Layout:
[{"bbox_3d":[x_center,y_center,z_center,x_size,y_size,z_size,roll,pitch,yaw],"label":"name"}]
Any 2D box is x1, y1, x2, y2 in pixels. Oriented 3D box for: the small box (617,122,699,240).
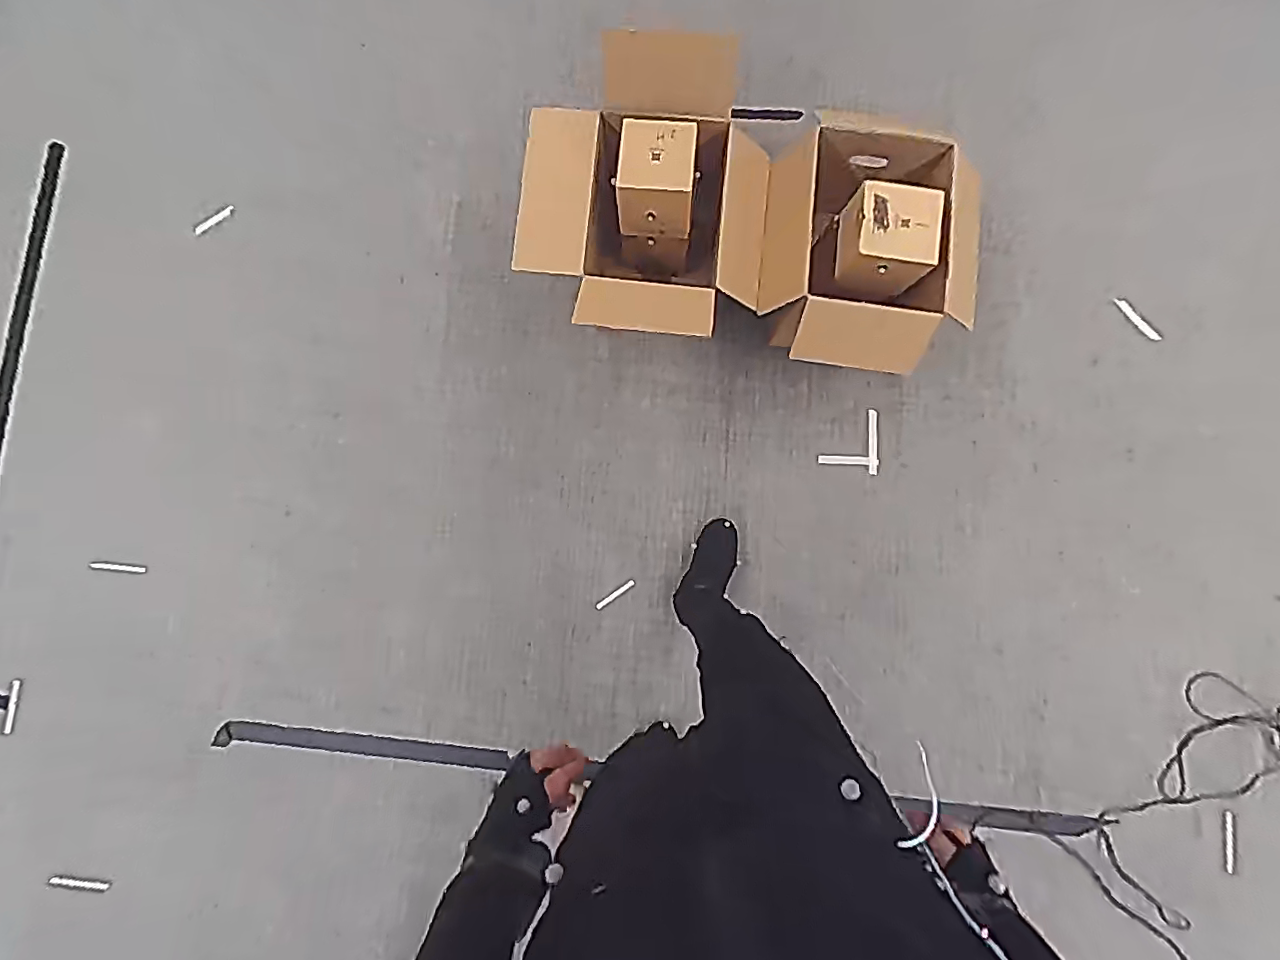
[{"bbox_3d":[0.043,-0.681,1.249,0.168,0.176,0.179,6,79,3],"label":"small box"}]
